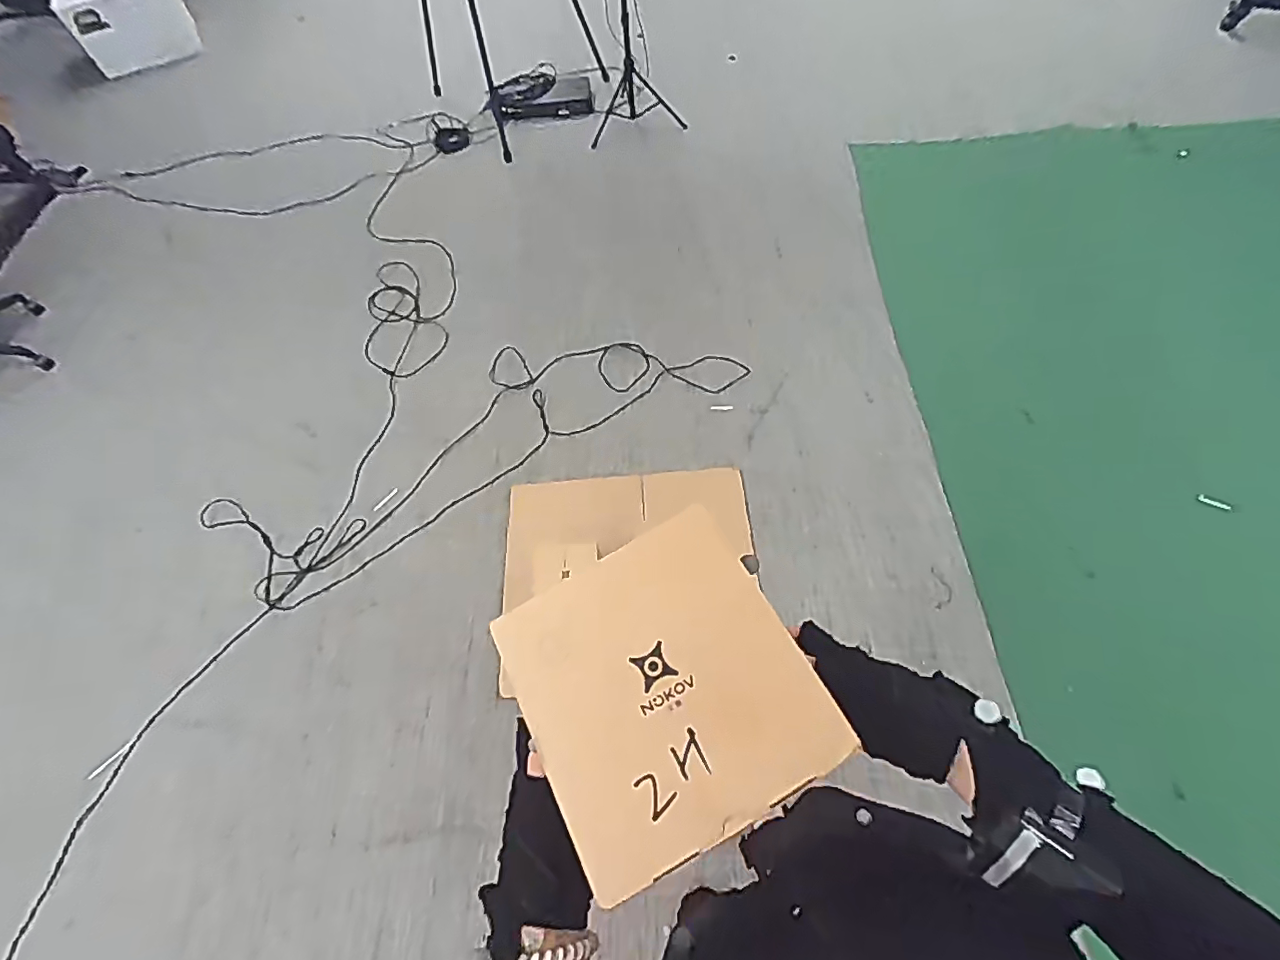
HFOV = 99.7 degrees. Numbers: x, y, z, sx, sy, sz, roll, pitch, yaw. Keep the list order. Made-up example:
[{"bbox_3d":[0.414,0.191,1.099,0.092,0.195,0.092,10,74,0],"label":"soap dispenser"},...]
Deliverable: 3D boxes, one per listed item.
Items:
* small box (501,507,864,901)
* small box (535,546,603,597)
[{"bbox_3d":[0.027,0.155,0.400,0.168,0.176,0.179,-29,64,-4],"label":"small box"},{"bbox_3d":[-0.170,0.288,1.394,0.168,0.176,0.179,-7,60,2],"label":"small box"}]
